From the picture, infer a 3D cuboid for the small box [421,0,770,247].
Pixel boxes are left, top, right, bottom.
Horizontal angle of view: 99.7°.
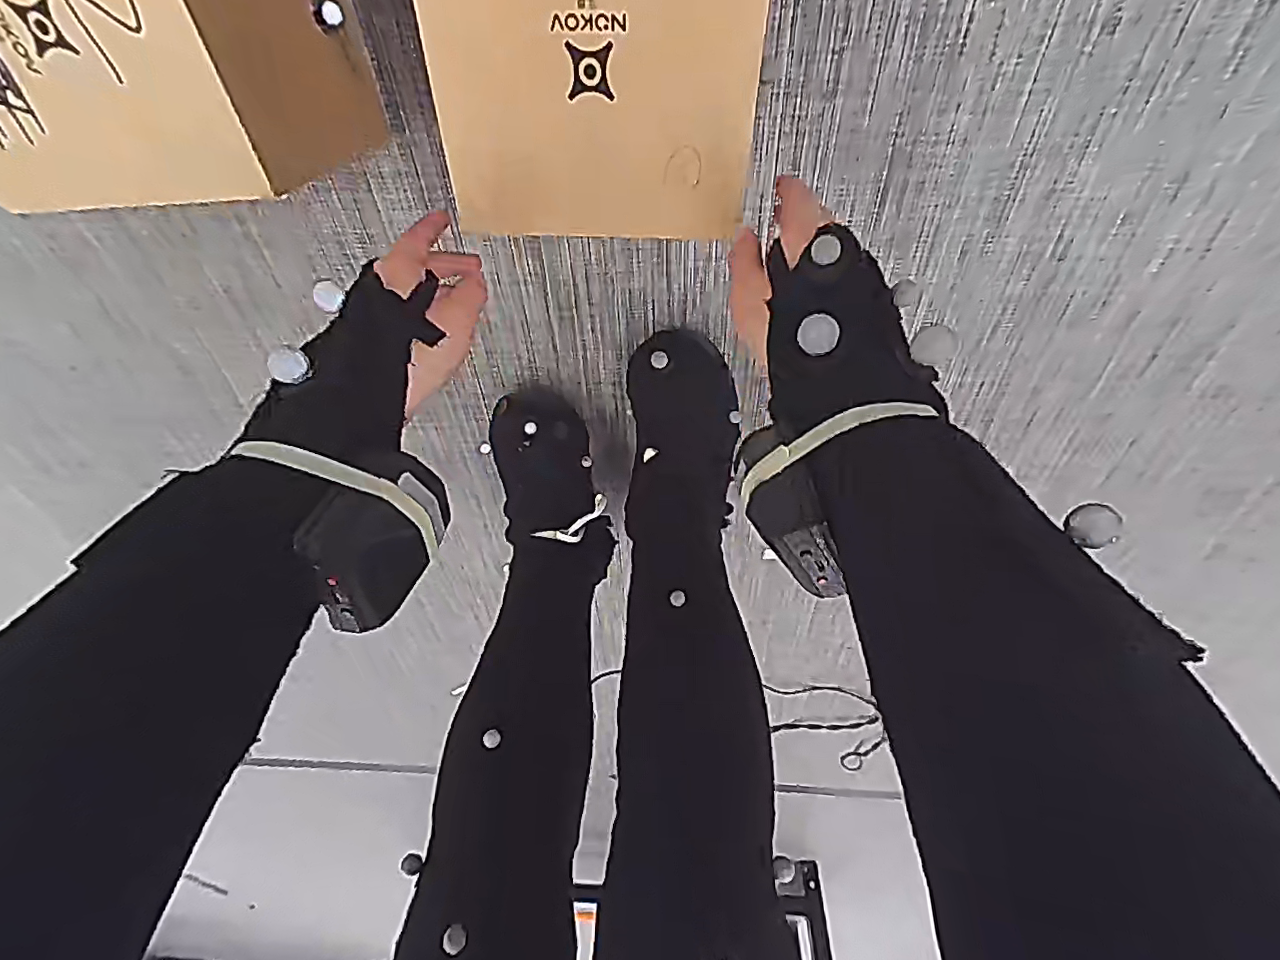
[{"bbox_3d":[-0.017,-0.260,0.324,0.168,0.176,0.179,2,132,1],"label":"small box"}]
